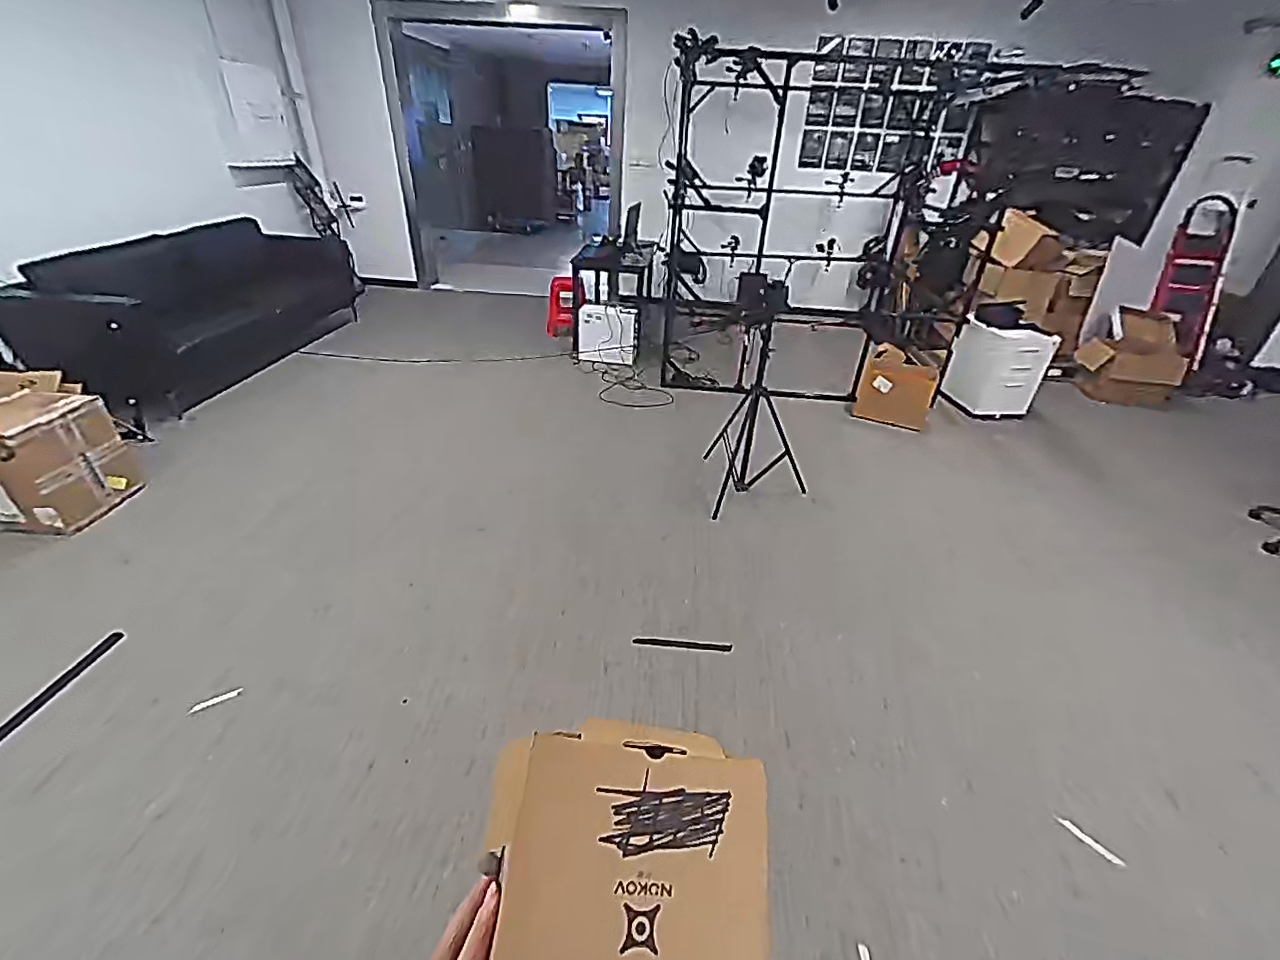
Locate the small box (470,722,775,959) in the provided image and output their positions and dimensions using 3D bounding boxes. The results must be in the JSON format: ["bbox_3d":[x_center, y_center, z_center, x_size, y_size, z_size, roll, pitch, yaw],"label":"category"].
[{"bbox_3d":[-0.020,0.286,0.386,0.168,0.176,0.179,14,58,-13],"label":"small box"}]
